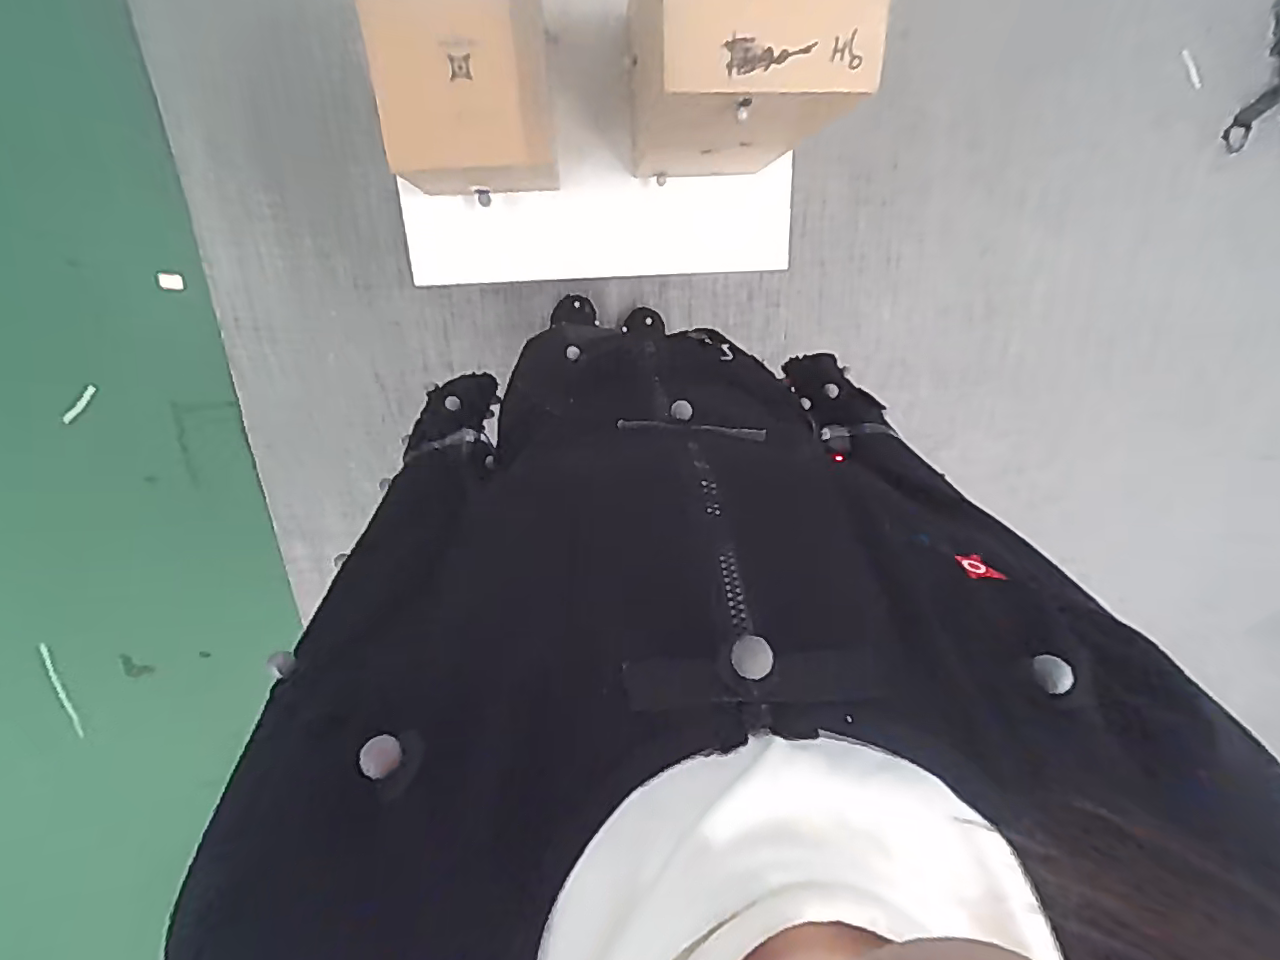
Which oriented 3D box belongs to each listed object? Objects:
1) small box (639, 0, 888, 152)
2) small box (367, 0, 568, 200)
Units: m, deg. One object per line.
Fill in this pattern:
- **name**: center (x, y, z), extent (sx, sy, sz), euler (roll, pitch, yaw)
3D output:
- **small box**: center (0.089, -0.393, 0.447), extent (0.168, 0.176, 0.179), euler (-3, 109, -4)
- **small box**: center (-0.171, -0.419, 0.589), extent (0.168, 0.176, 0.179), euler (-7, 111, -3)
